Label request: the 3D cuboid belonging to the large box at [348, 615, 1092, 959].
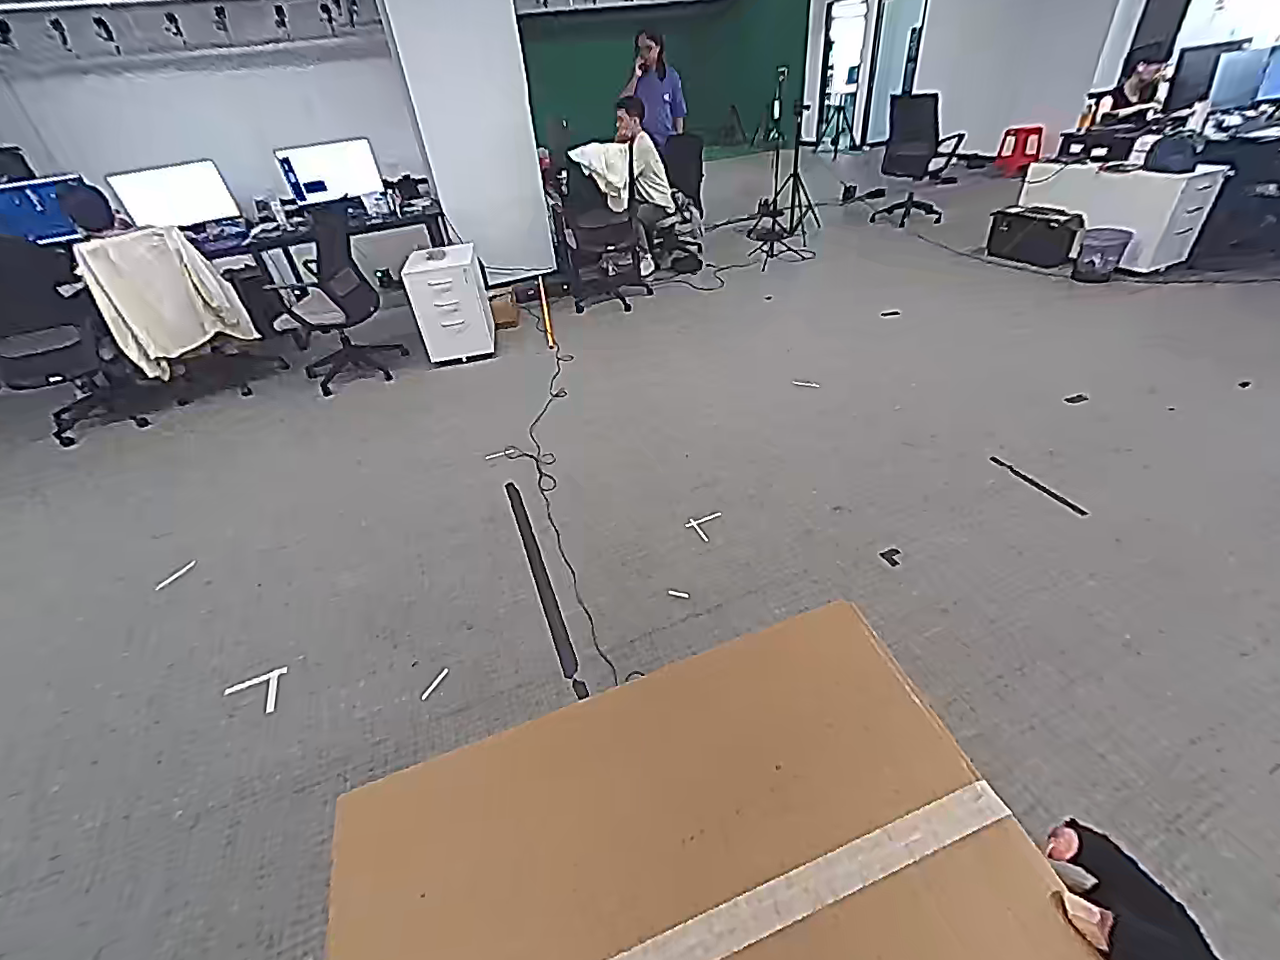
[{"bbox_3d":[0.050,0.374,0.416,0.408,0.320,0.320,-19,44,-9],"label":"large box"}]
